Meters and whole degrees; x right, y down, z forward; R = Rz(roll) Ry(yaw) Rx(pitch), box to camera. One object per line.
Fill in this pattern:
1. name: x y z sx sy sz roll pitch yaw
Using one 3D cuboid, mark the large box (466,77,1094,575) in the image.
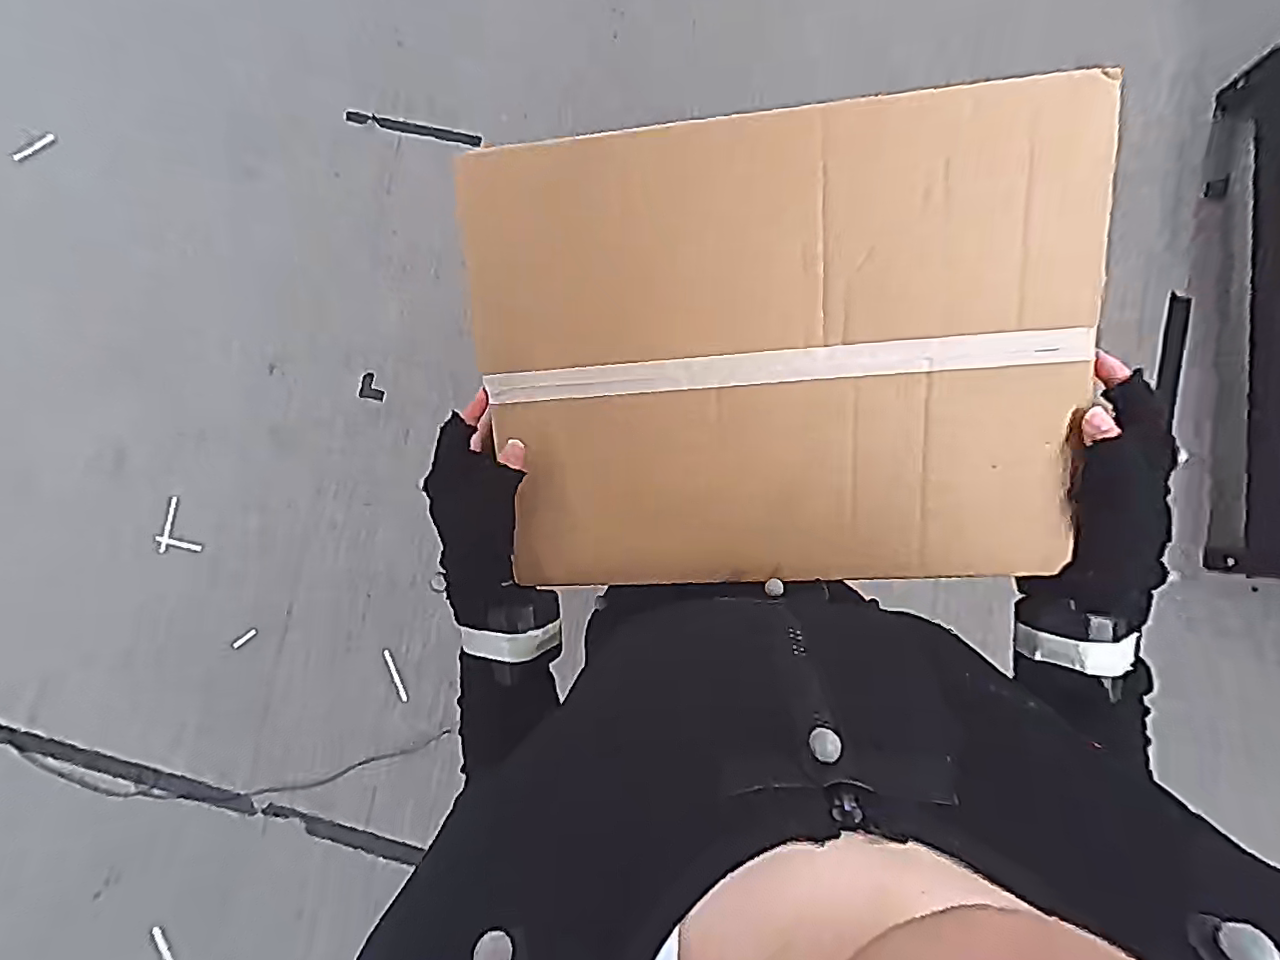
1. large box: 0.102 -0.115 0.523 0.408 0.320 0.320 -2 104 7
